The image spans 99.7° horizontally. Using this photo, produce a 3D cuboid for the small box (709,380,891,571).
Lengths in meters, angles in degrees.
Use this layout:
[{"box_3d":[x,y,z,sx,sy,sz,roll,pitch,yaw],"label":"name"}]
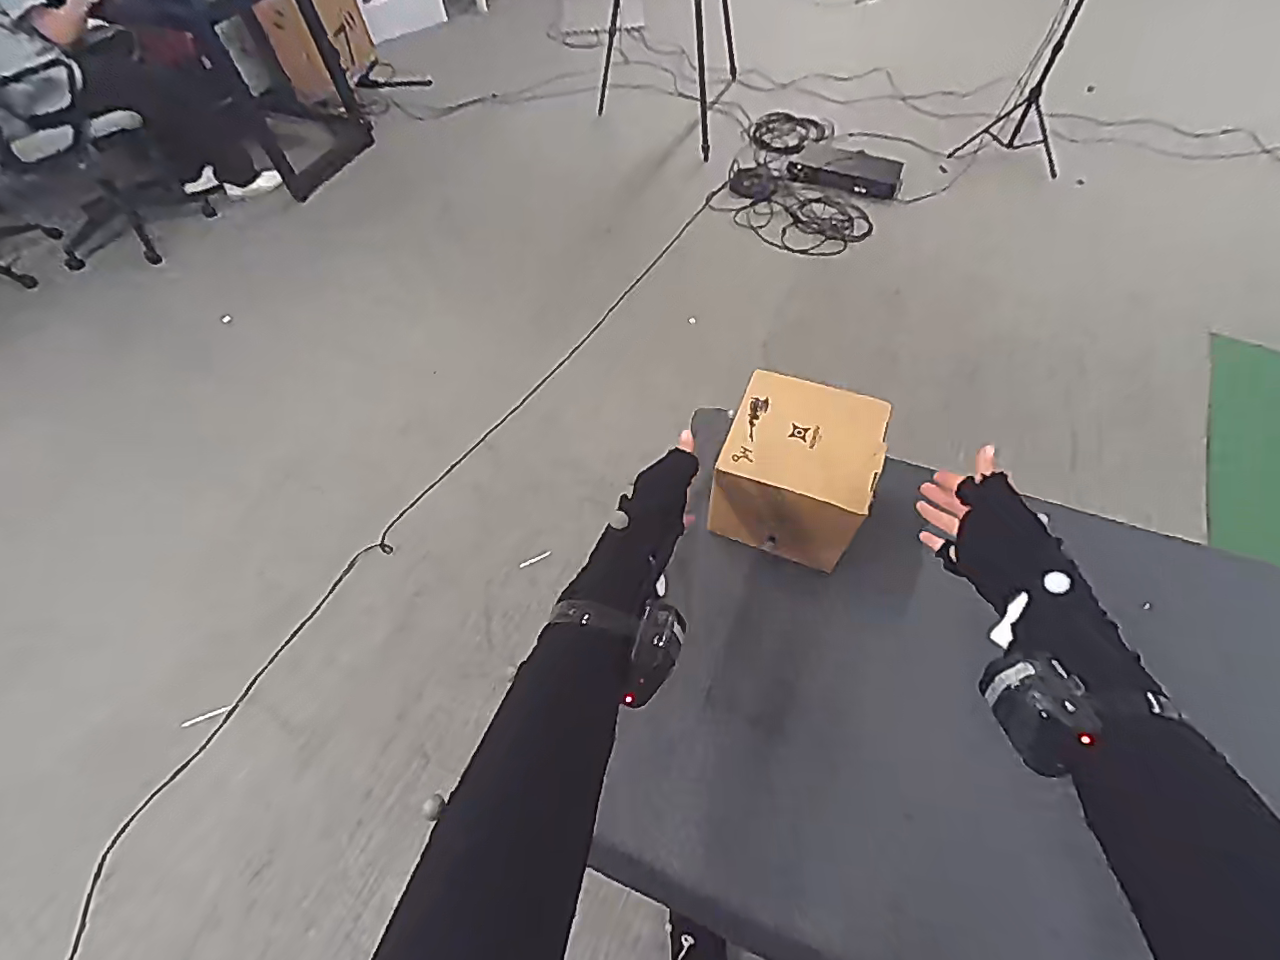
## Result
[{"box_3d":[0.202,0.002,0.715,0.179,0.176,0.168,19,61,14],"label":"small box"}]
